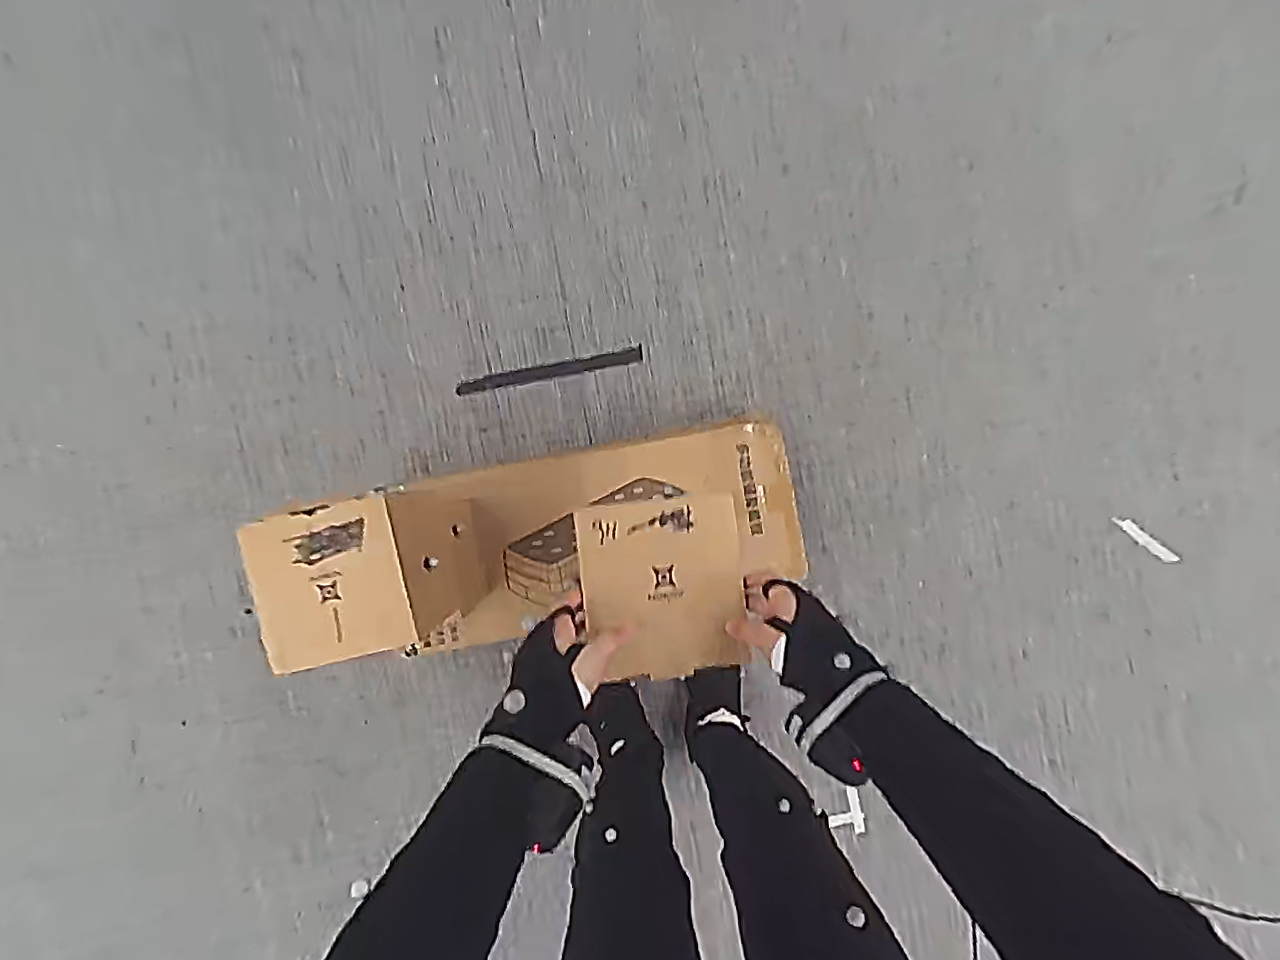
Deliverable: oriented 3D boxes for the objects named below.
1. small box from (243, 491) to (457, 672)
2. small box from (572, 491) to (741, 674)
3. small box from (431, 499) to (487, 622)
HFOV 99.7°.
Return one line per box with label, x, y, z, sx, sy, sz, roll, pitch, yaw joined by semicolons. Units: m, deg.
small box;-0.348;0.114;0.683;0.168;0.176;0.179;-12;92;-3
small box;0.010;0.105;0.632;0.168;0.176;0.179;-5;88;-8
small box;-0.352;0.126;0.847;0.168;0.176;0.179;-11;92;-3
